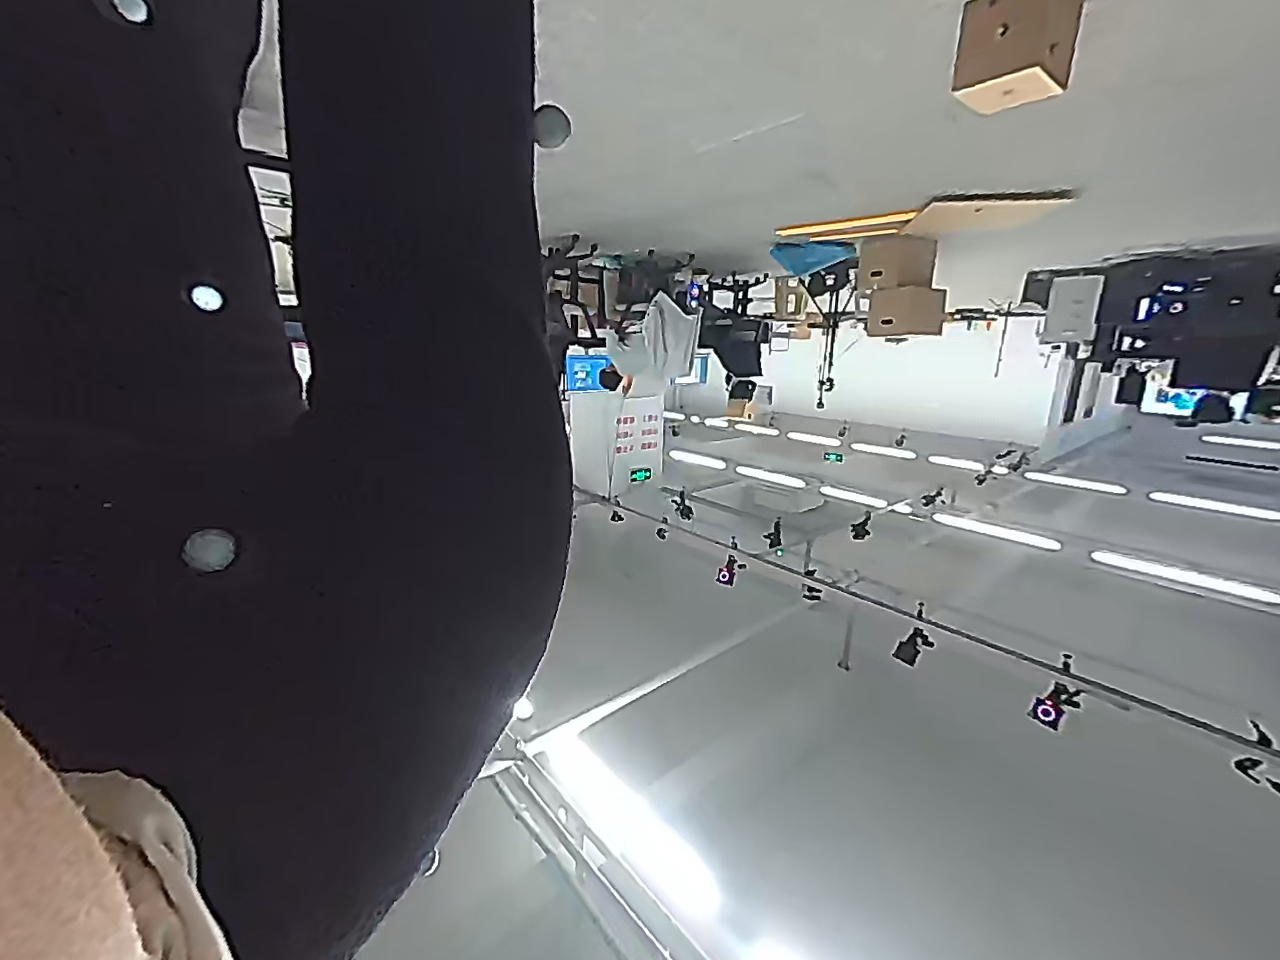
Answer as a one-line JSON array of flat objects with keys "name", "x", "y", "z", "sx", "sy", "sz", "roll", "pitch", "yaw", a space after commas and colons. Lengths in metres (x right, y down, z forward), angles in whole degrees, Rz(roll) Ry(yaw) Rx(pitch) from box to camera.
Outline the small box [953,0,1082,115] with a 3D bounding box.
[{"name": "small box", "x": 0.789, "y": -0.909, "z": 1.135, "sx": 0.179, "sy": 0.176, "sz": 0.168, "roll": -10, "pitch": -161, "yaw": -36}]
